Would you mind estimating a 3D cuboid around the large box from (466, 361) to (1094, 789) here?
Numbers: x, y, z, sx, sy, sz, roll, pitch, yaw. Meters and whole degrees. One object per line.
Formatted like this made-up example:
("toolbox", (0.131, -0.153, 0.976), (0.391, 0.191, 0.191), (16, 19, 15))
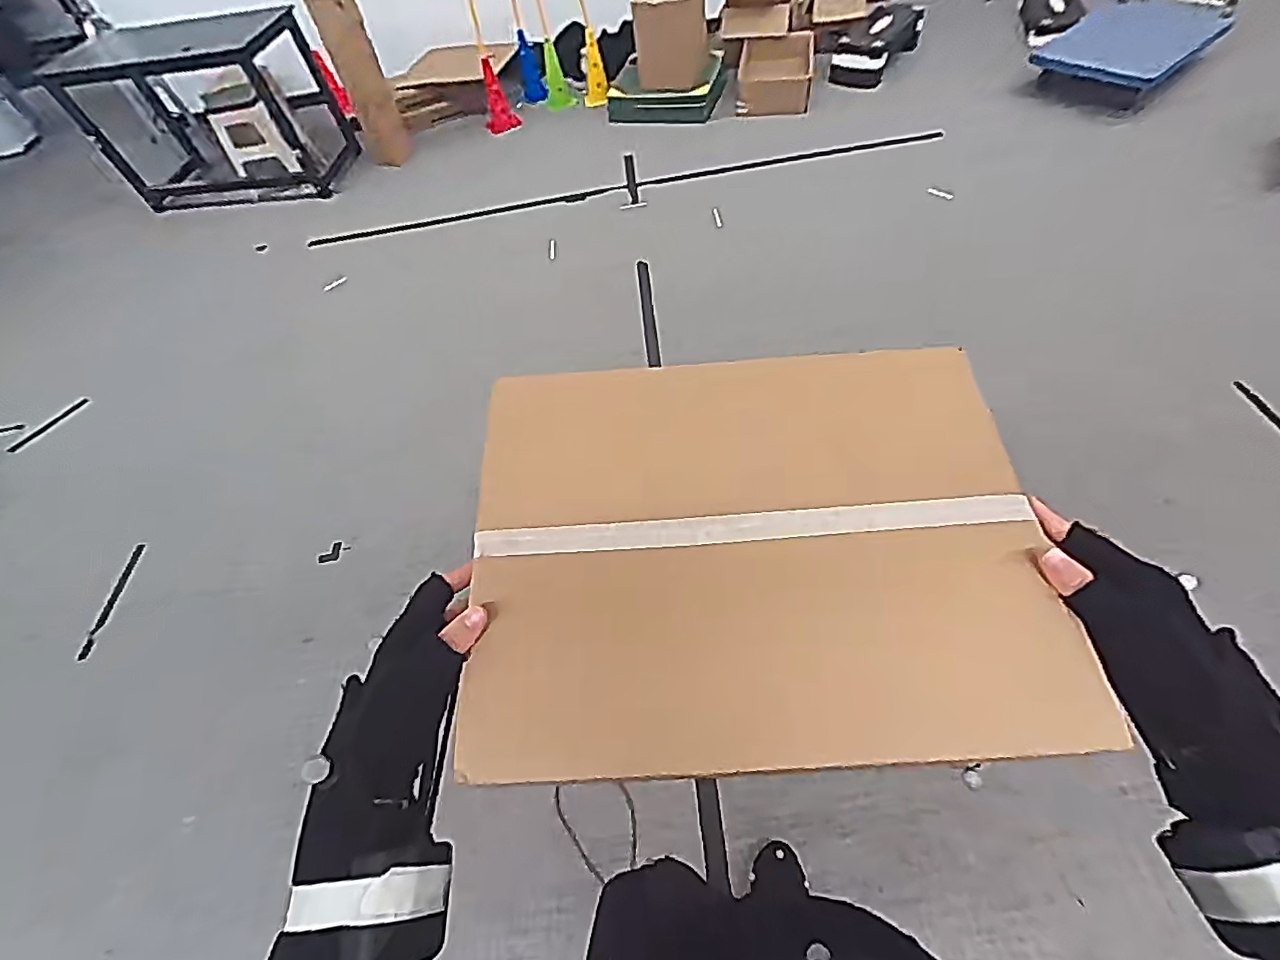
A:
("large box", (0.086, 0.113, 0.537), (0.408, 0.320, 0.320), (-4, 61, 1))
